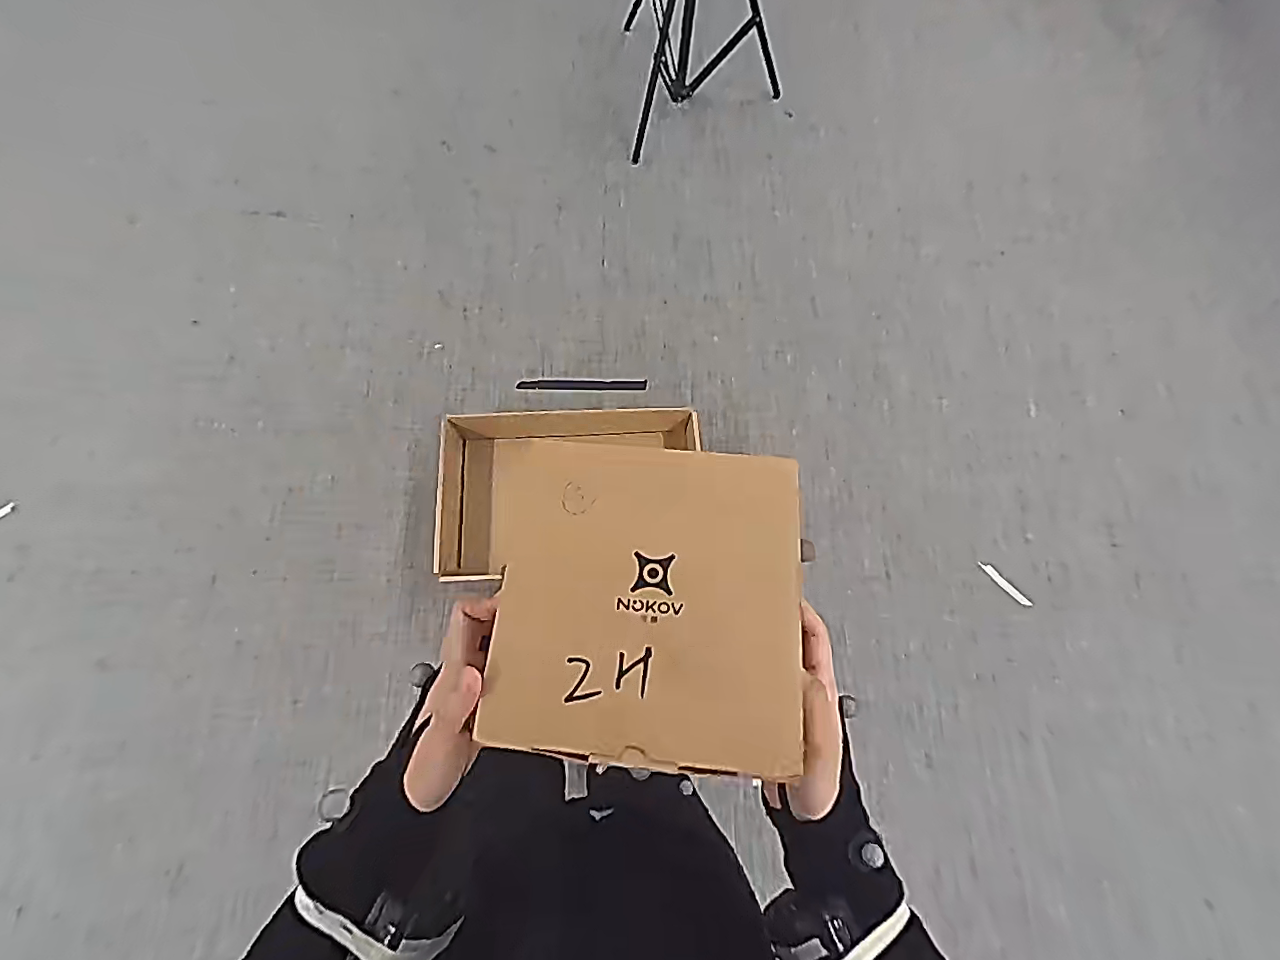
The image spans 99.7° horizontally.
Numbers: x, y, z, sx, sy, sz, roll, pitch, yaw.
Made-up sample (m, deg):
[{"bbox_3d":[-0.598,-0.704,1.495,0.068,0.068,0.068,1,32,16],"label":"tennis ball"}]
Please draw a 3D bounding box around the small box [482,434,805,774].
[{"bbox_3d":[0.013,0.088,0.375,0.168,0.176,0.179,5,67,6],"label":"small box"}]
